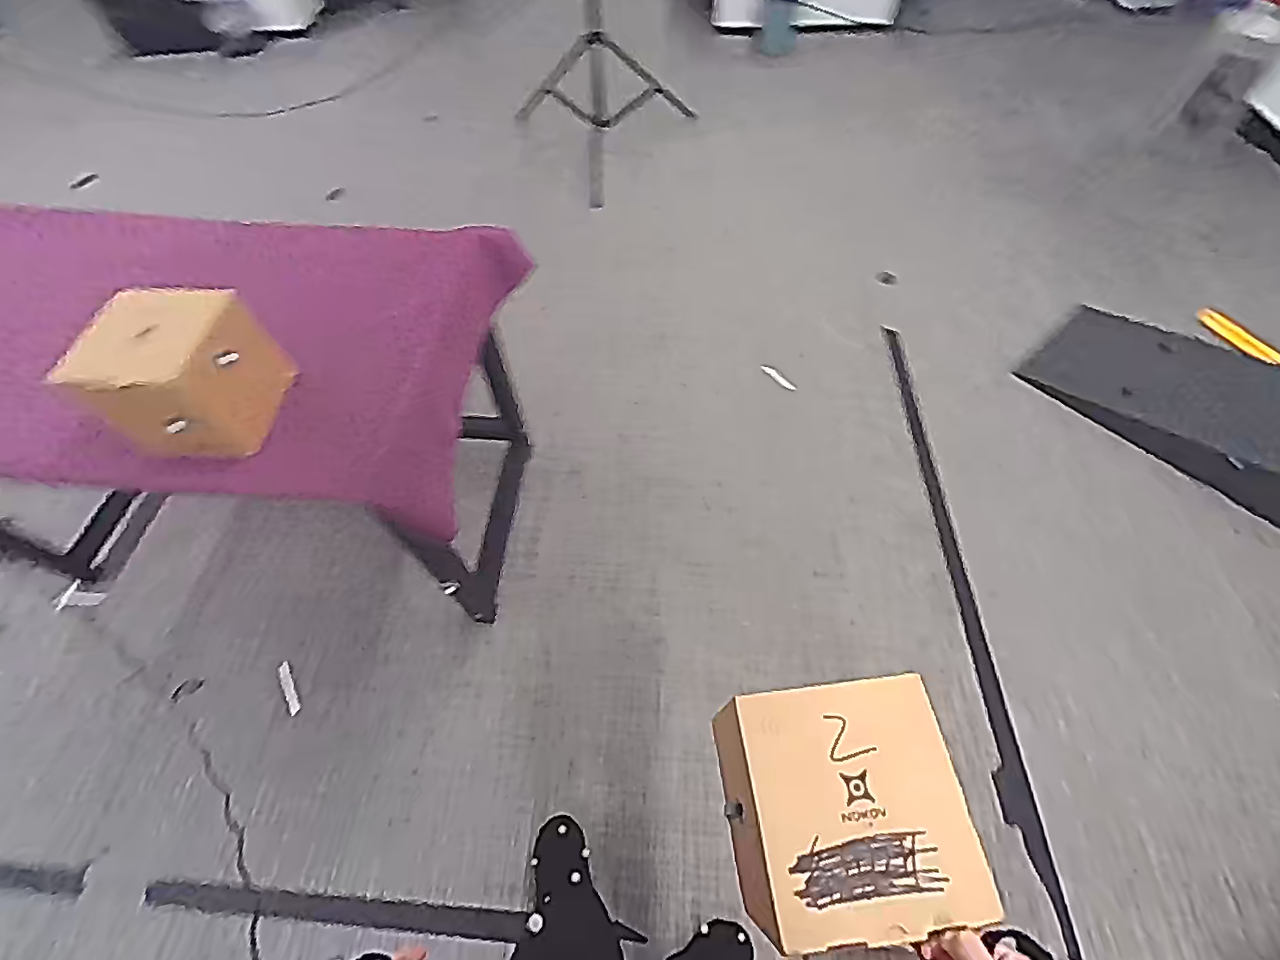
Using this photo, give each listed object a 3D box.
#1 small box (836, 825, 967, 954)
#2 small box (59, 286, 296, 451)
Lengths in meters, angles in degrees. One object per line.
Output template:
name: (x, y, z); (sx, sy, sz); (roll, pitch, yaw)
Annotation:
small box: (0.488, 0.775, 1.041); (0.168, 0.176, 0.179); (3, 59, 3)
small box: (-0.646, -0.157, 0.788); (0.168, 0.176, 0.179); (2, 58, 2)
